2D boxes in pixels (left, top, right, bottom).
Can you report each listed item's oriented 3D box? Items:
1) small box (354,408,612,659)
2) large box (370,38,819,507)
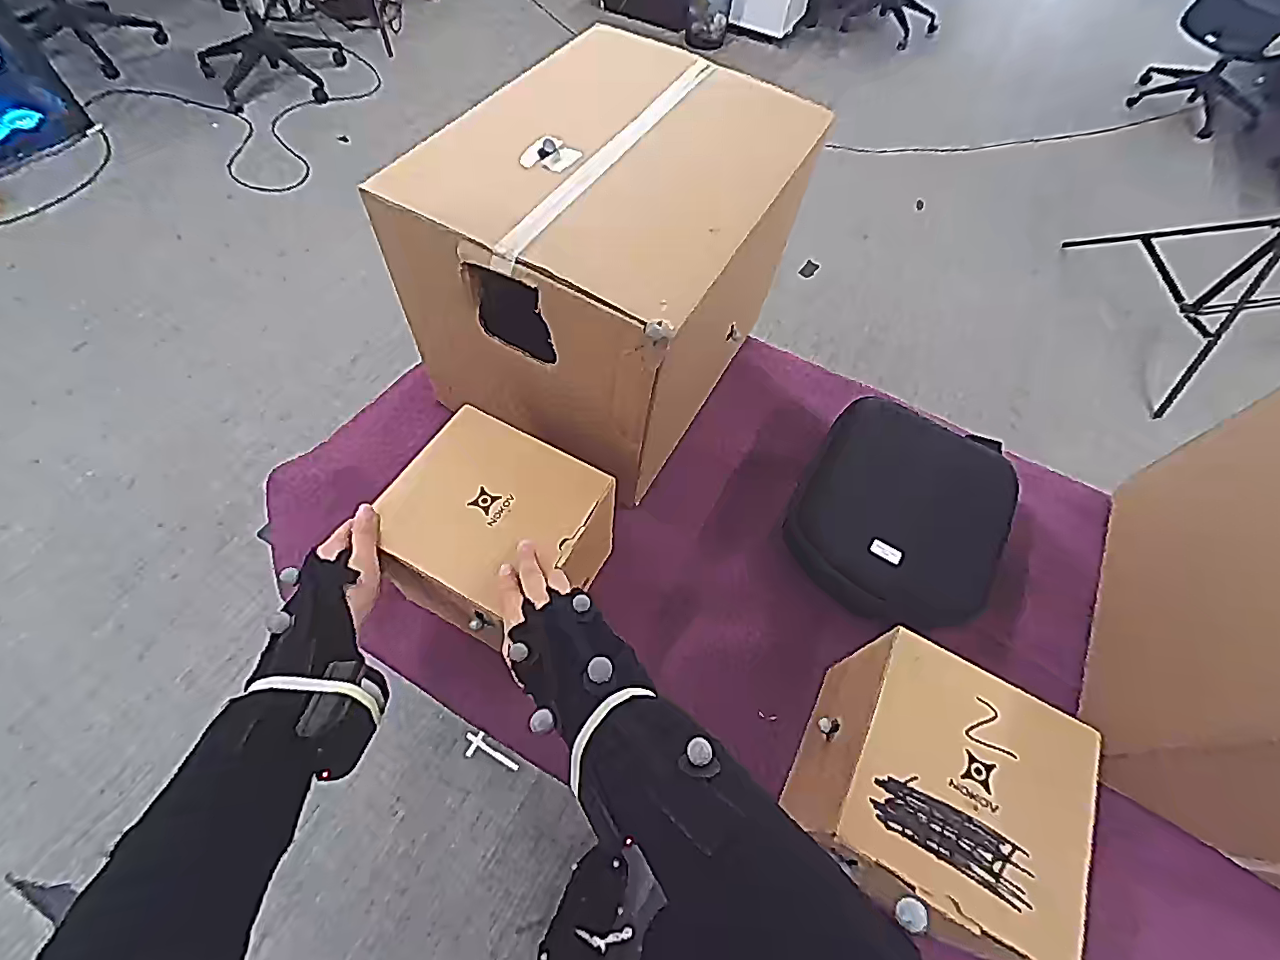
[{"bbox_3d":[-0.146,0.063,0.563,0.179,0.176,0.168,25,60,9],"label":"small box"},{"bbox_3d":[-0.032,-0.248,0.674,0.320,0.320,0.408,27,63,10],"label":"large box"}]
